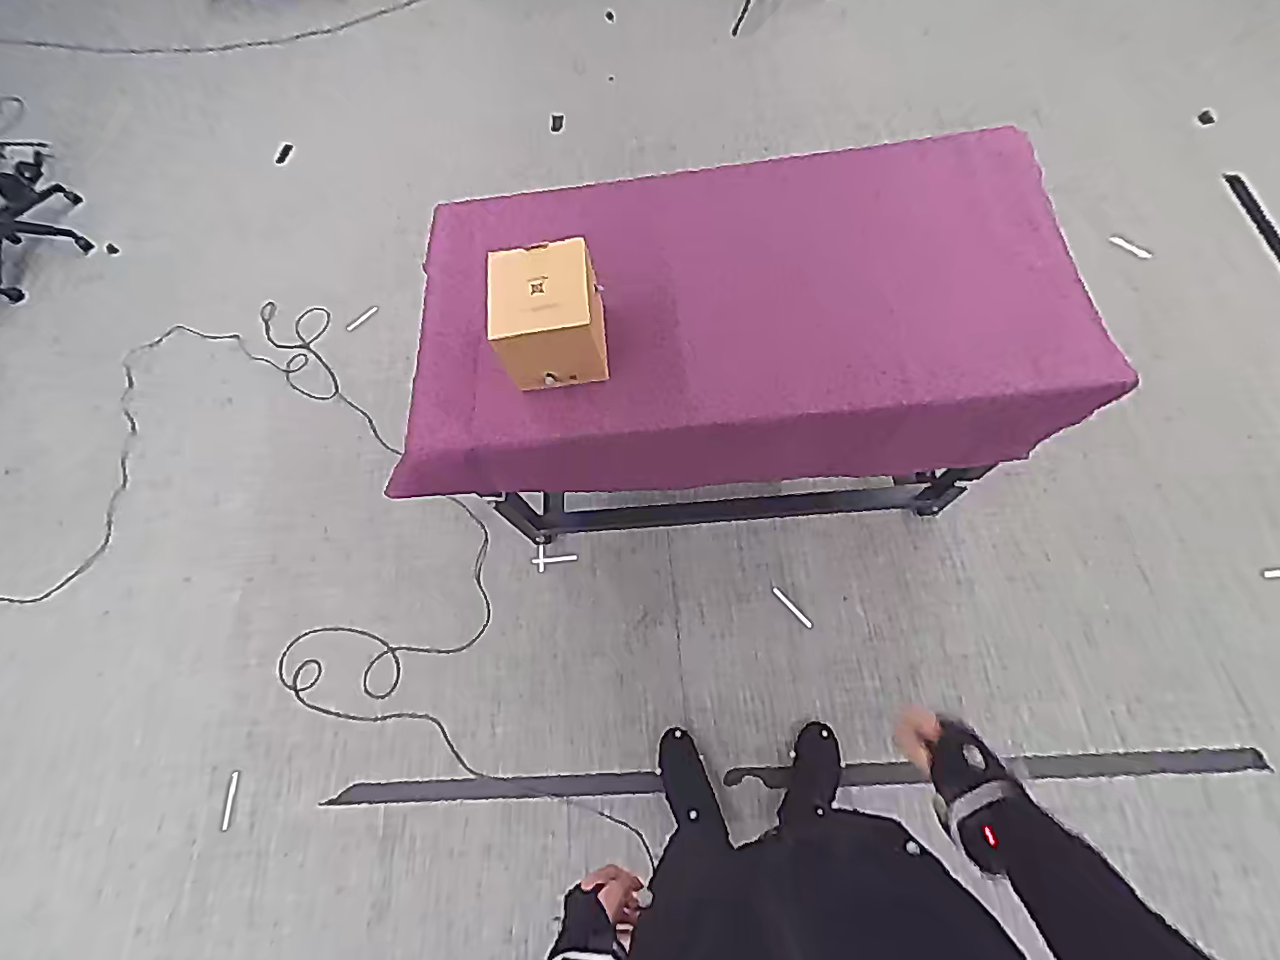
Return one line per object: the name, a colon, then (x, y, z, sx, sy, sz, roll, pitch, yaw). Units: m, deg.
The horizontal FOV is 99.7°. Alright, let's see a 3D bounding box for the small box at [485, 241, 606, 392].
small box: (-0.156, -0.276, 0.936, 0.168, 0.176, 0.179, -7, 68, 5)
